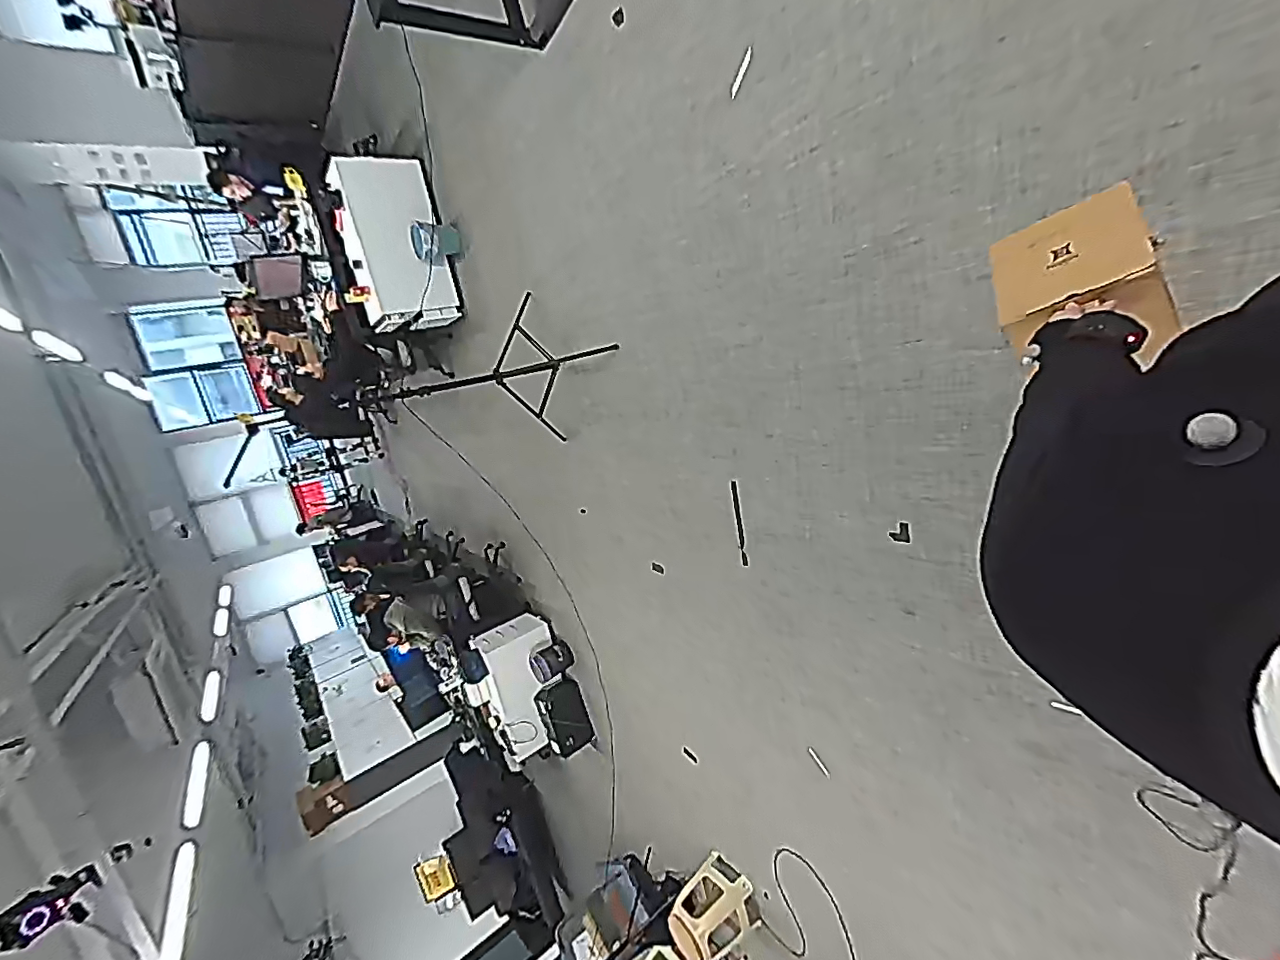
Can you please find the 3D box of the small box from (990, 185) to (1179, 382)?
[{"bbox_3d":[0.629,-0.264,0.774,0.176,0.179,0.168,36,145,-30],"label":"small box"}]
